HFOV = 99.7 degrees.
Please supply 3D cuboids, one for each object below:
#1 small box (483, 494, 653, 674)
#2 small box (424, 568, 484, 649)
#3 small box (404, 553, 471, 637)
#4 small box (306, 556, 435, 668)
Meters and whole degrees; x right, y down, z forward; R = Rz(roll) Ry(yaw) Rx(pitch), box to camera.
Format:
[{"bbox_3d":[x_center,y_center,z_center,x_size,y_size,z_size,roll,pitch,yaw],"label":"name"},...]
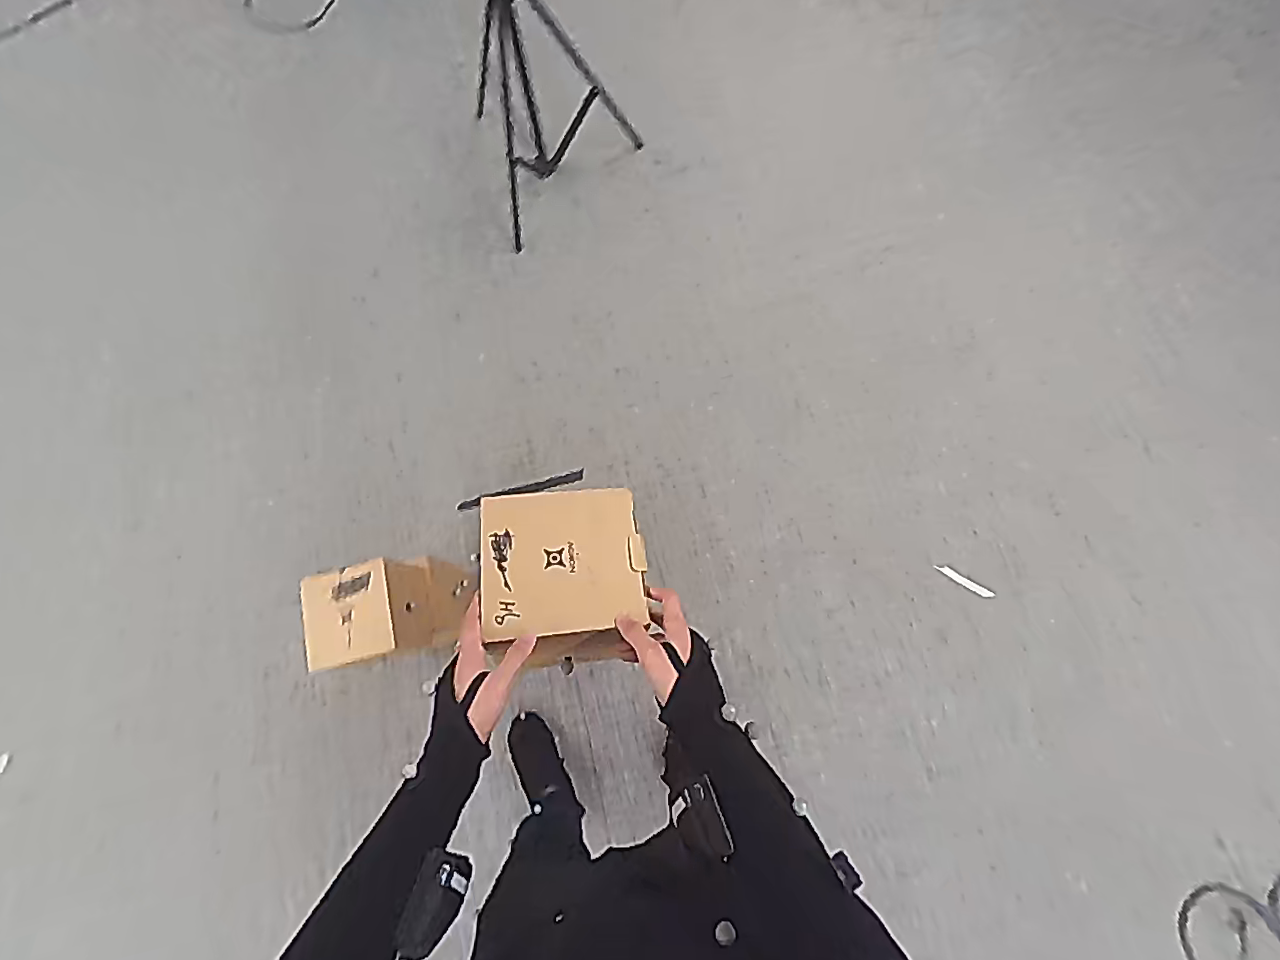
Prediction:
[{"bbox_3d":[-0.092,0.129,0.656,0.179,0.176,0.168,-3,61,-11],"label":"small box"},{"bbox_3d":[-0.521,0.332,1.400,0.168,0.176,0.179,-17,75,-2],"label":"small box"},{"bbox_3d":[-0.515,0.281,1.244,0.179,0.176,0.168,-18,75,-3],"label":"small box"},{"bbox_3d":[-0.530,0.264,1.079,0.168,0.176,0.179,-15,75,-1],"label":"small box"}]
